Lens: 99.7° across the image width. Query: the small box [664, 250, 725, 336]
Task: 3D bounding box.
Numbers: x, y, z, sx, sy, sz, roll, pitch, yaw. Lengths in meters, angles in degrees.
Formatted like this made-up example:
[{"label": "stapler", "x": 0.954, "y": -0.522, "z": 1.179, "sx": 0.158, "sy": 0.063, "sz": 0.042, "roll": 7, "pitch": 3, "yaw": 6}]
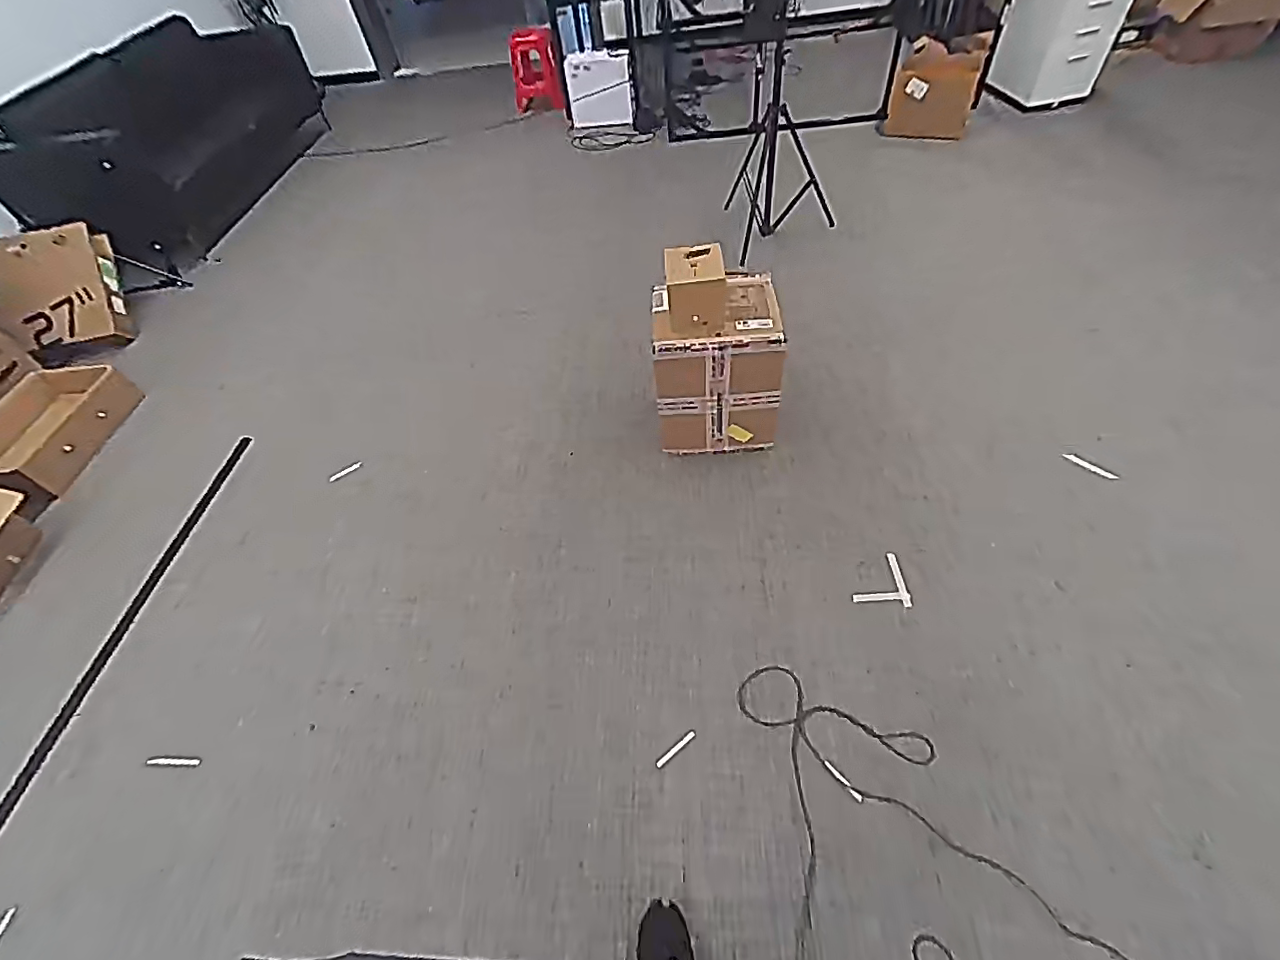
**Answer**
[{"label": "small box", "x": 0.160, "y": -0.551, "z": 1.601, "sx": 0.168, "sy": 0.176, "sz": 0.179, "roll": -5, "pitch": 55, "yaw": 5}]
